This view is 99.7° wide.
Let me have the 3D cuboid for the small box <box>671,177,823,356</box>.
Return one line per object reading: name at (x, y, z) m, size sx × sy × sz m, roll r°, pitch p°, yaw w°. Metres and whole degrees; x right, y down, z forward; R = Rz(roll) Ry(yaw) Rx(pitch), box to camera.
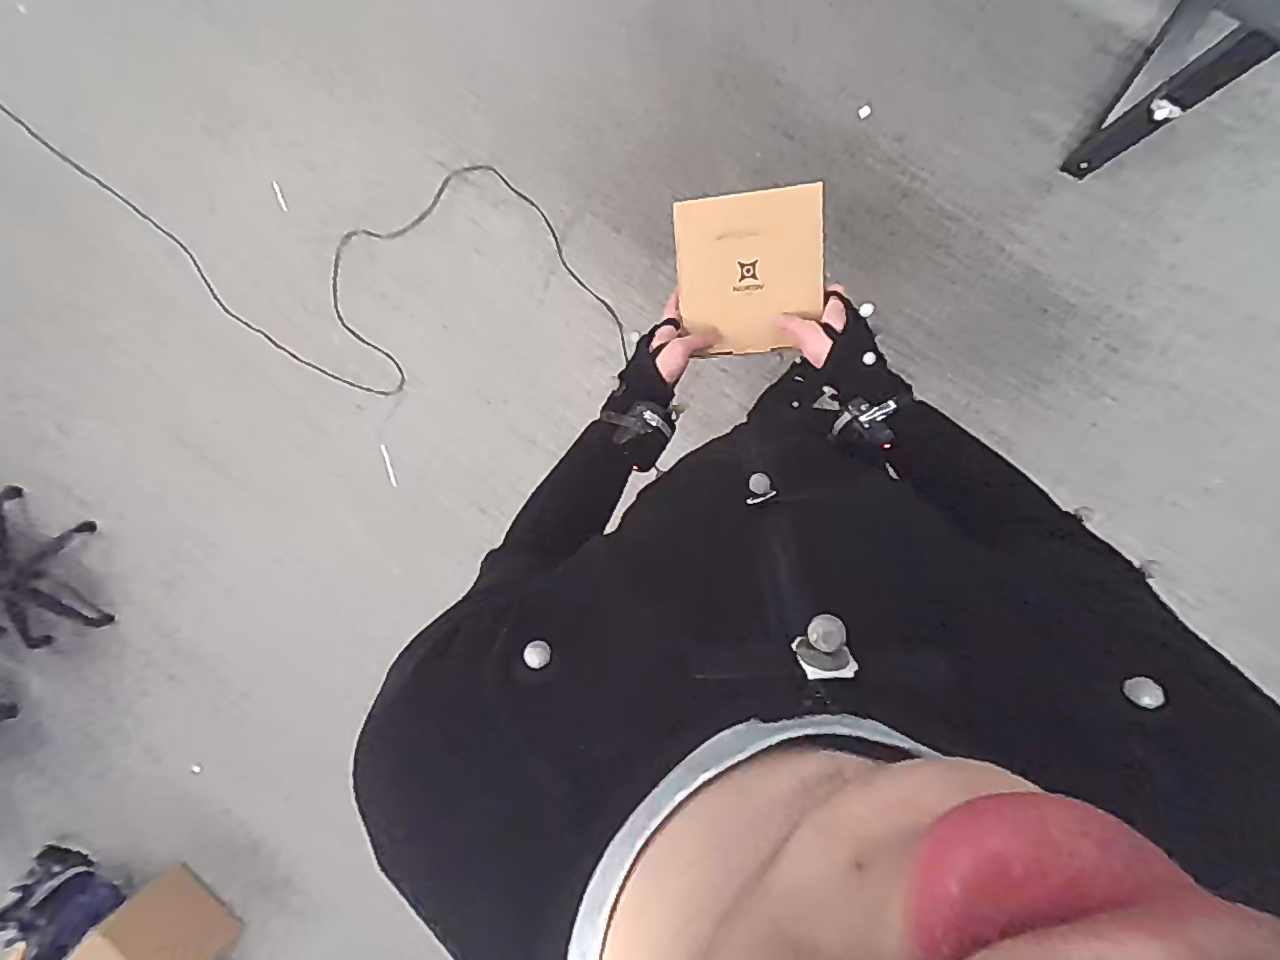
small box at (0.132, -0.249, 0.678) m, size 0.168 × 0.176 × 0.179 m, roll -3°, pitch 100°, yaw 10°
